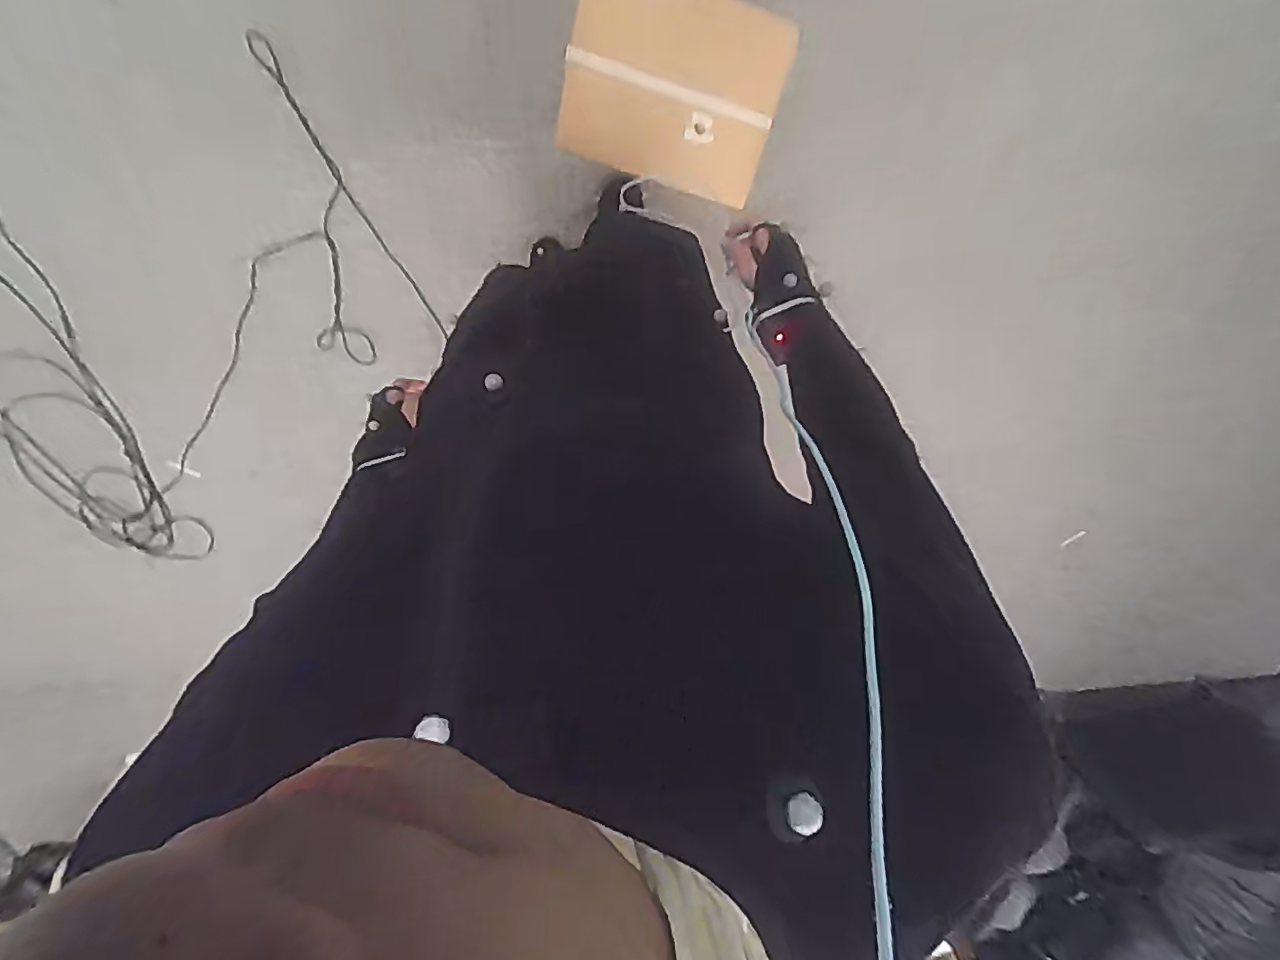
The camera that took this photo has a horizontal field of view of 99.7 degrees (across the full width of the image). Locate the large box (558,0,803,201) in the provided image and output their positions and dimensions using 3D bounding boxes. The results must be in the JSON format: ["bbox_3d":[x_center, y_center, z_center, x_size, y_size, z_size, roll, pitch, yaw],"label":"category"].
[{"bbox_3d":[0.054,-0.820,1.141,0.408,0.320,0.320,11,121,-12],"label":"large box"}]
